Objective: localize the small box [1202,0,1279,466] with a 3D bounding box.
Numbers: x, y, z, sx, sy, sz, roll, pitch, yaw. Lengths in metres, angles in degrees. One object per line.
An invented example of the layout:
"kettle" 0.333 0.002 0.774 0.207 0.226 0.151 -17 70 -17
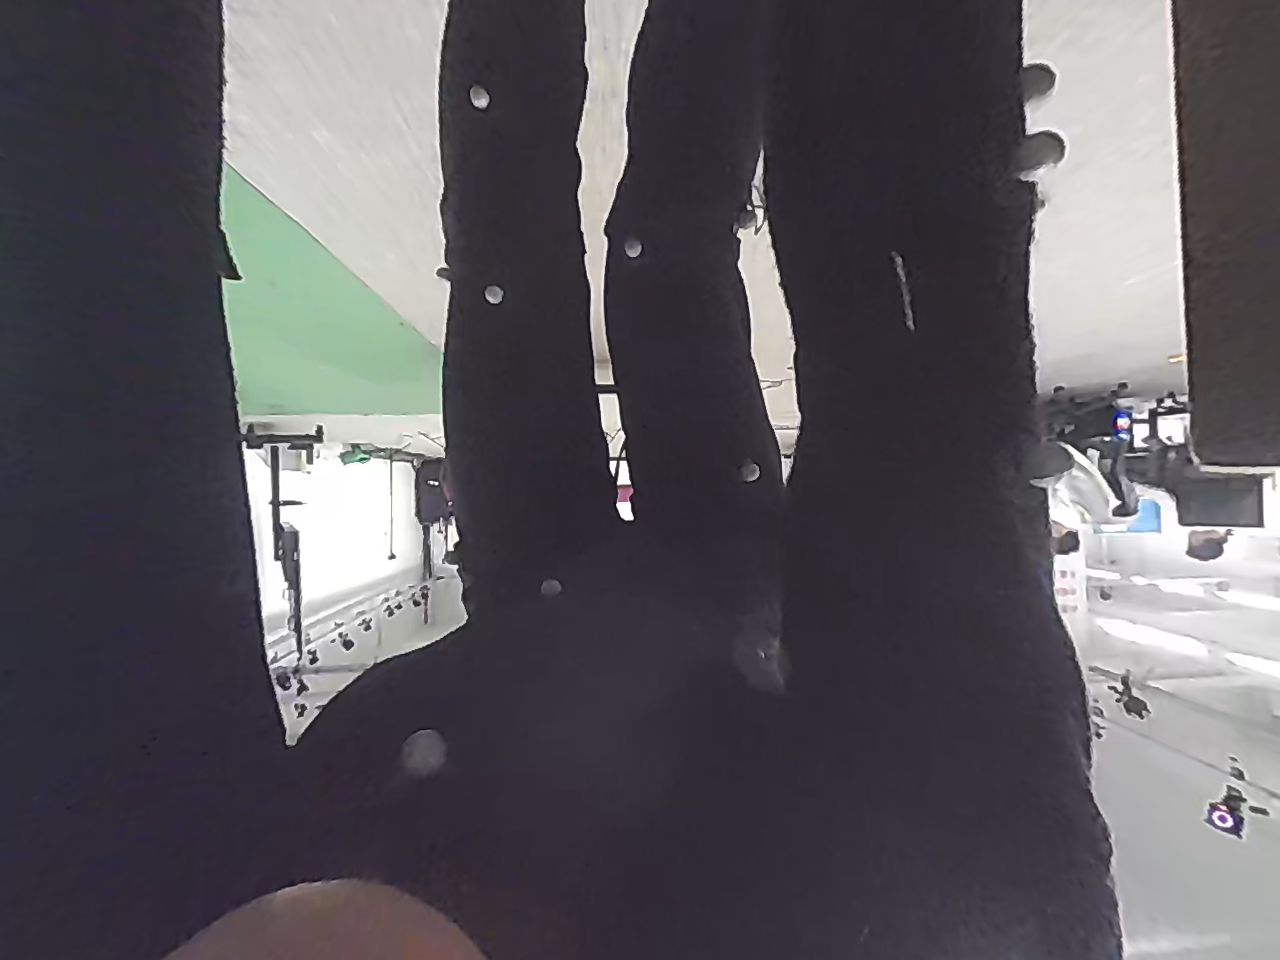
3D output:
"small box" 0.262 -0.091 0.096 0.168 0.176 0.179 2 178 -2
